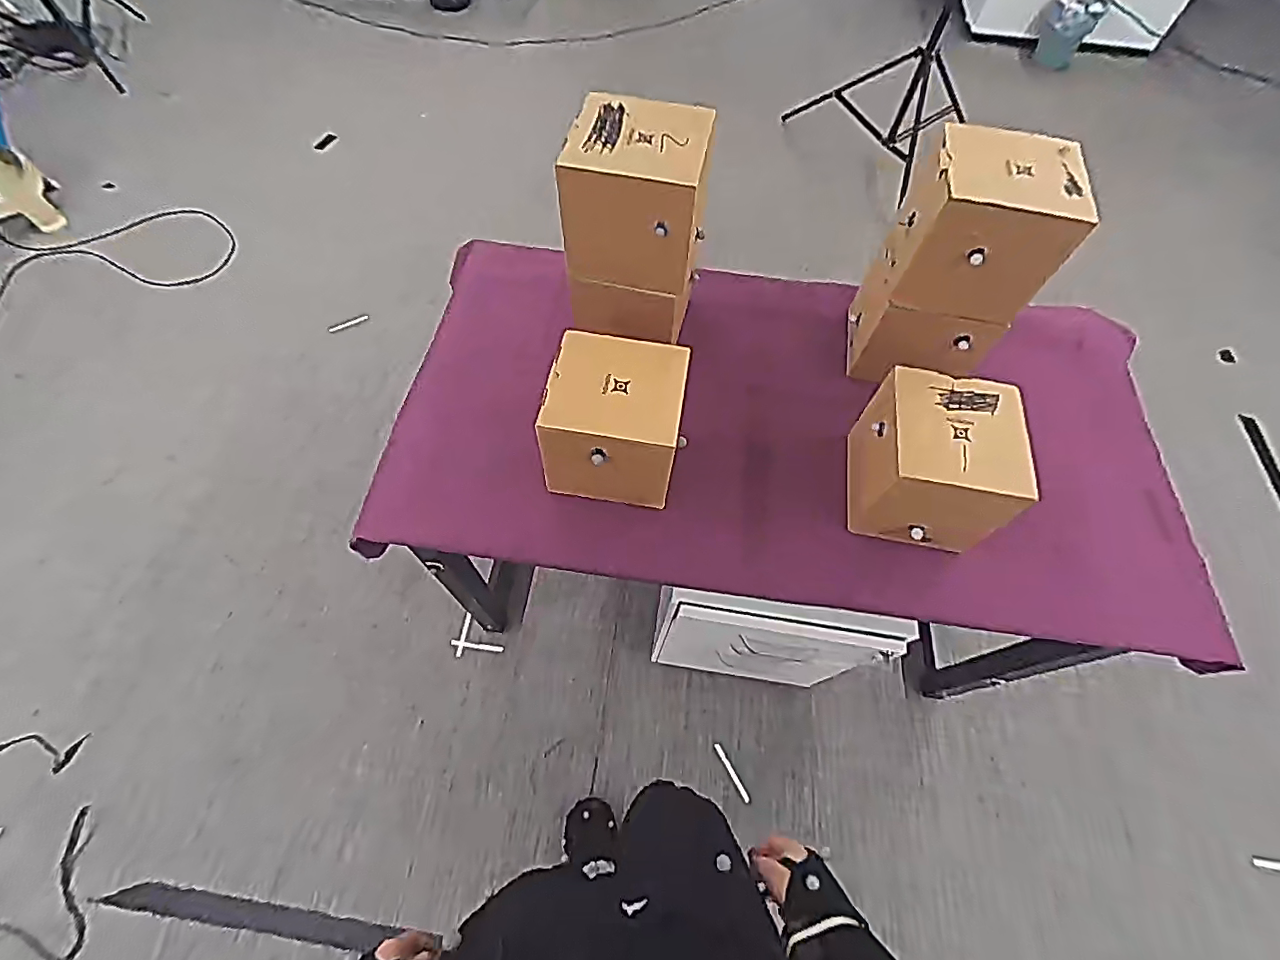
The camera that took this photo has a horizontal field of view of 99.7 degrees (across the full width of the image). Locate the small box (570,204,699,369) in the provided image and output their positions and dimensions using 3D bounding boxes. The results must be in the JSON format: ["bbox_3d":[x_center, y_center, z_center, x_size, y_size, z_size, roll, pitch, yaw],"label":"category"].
[{"bbox_3d":[-0.007,-0.314,0.894,0.168,0.176,0.179,12,64,6],"label":"small box"}]

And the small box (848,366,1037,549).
[{"bbox_3d":[0.399,-0.026,0.750,0.168,0.176,0.179,10,61,4],"label":"small box"}]

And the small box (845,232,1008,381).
[{"bbox_3d":[0.456,-0.269,0.885,0.179,0.176,0.168,11,62,4],"label":"small box"}]

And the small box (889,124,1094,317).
[{"bbox_3d":[0.460,-0.349,0.742,0.179,0.176,0.168,12,63,5],"label":"small box"}]
